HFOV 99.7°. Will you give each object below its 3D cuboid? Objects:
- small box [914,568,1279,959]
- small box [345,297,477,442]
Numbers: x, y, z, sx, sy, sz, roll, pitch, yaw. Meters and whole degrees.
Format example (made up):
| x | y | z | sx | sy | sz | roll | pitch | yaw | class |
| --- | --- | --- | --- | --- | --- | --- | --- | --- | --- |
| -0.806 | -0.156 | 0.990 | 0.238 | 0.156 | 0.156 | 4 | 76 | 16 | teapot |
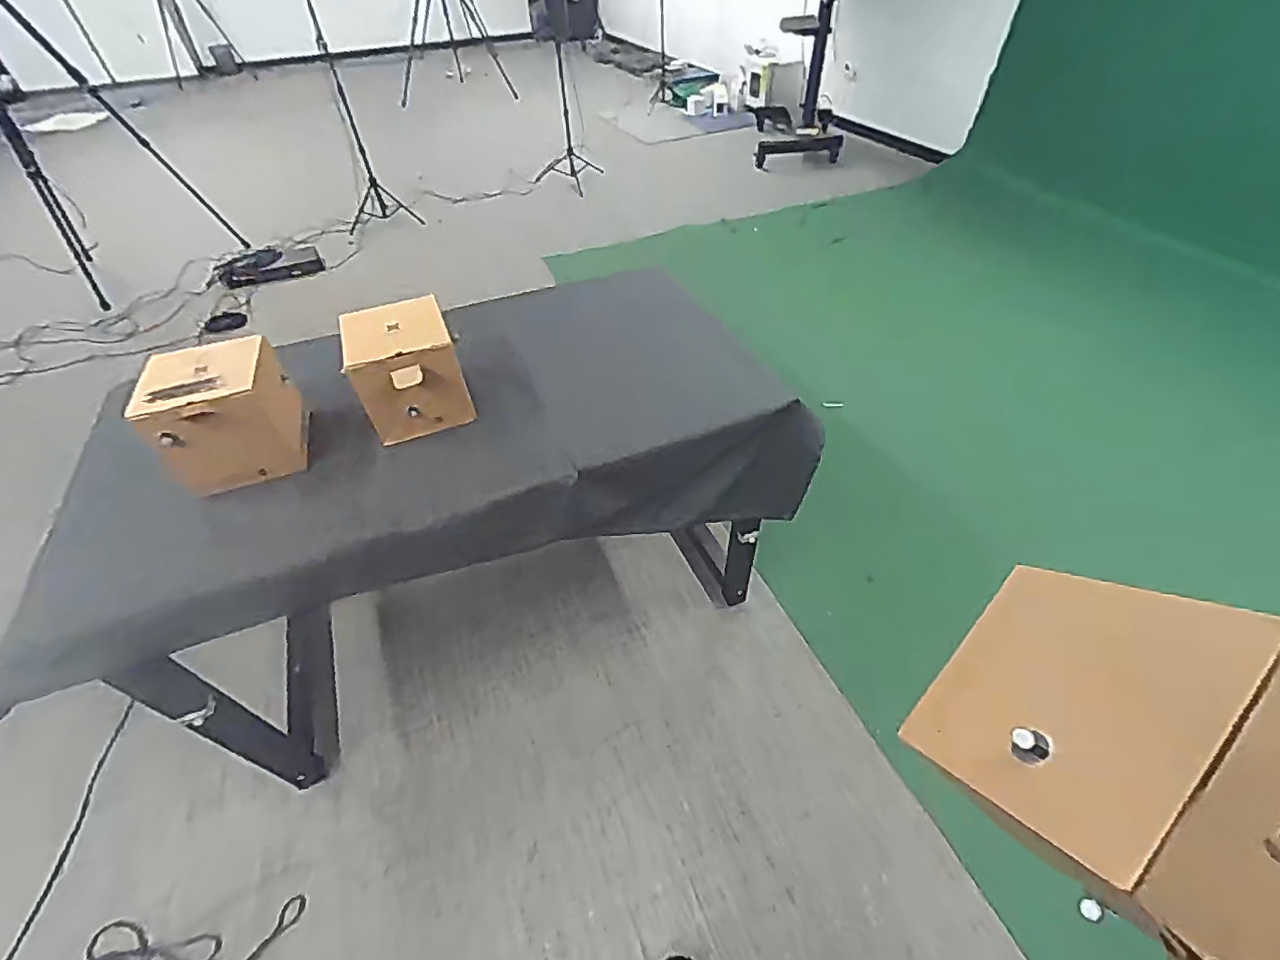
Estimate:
| x | y | z | sx | sy | sz | roll | pitch | yaw | class |
| --- | --- | --- | --- | --- | --- | --- | --- | --- | --- |
| 0.328 | 0.187 | 0.372 | 0.168 | 0.176 | 0.179 | 42 | 82 | -12 | small box |
| -0.403 | -0.196 | 0.962 | 0.168 | 0.176 | 0.179 | -18 | 49 | -15 | small box |
